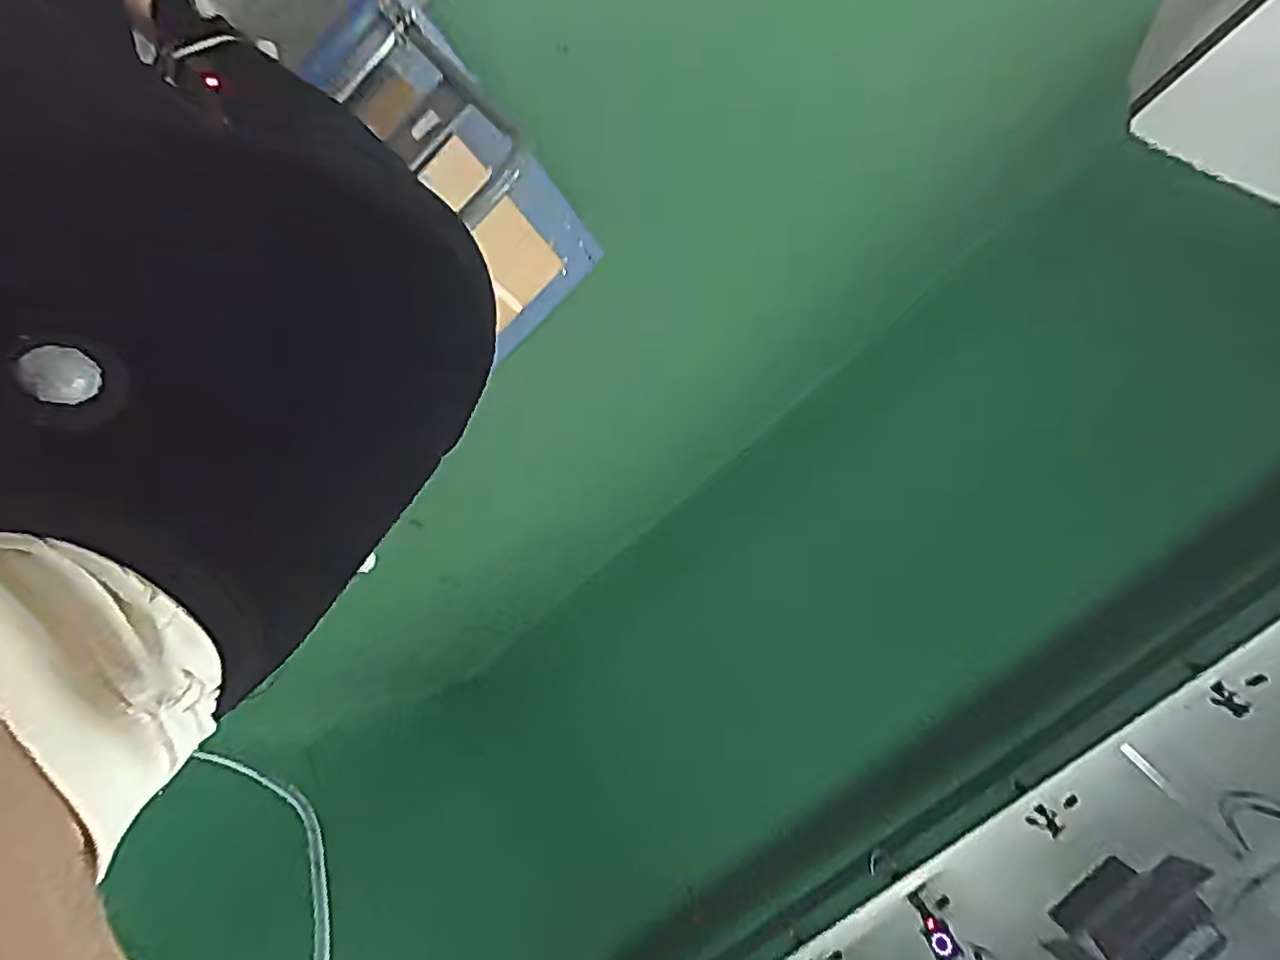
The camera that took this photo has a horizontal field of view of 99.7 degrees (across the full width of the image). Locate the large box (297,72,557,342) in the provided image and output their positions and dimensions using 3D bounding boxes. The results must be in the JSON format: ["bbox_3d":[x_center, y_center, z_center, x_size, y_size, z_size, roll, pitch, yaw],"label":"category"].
[{"bbox_3d":[-0.476,-0.604,1.252,0.320,0.320,0.408,-42,154,8],"label":"large box"}]
